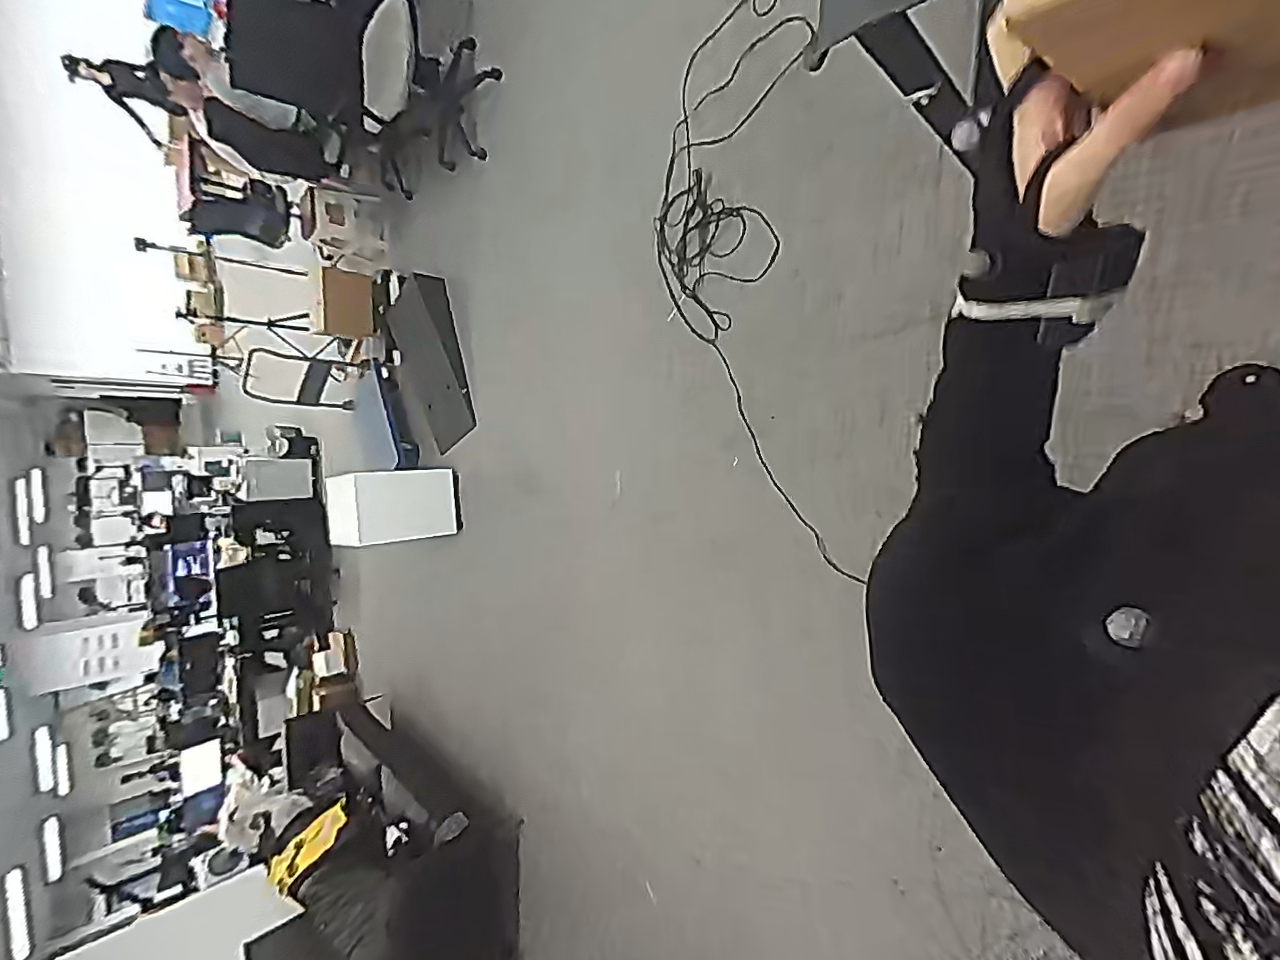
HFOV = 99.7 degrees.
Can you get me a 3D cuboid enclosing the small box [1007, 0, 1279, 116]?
[{"bbox_3d":[0.262,-0.265,0.183,0.168,0.176,0.179,17,111,55],"label":"small box"}]
